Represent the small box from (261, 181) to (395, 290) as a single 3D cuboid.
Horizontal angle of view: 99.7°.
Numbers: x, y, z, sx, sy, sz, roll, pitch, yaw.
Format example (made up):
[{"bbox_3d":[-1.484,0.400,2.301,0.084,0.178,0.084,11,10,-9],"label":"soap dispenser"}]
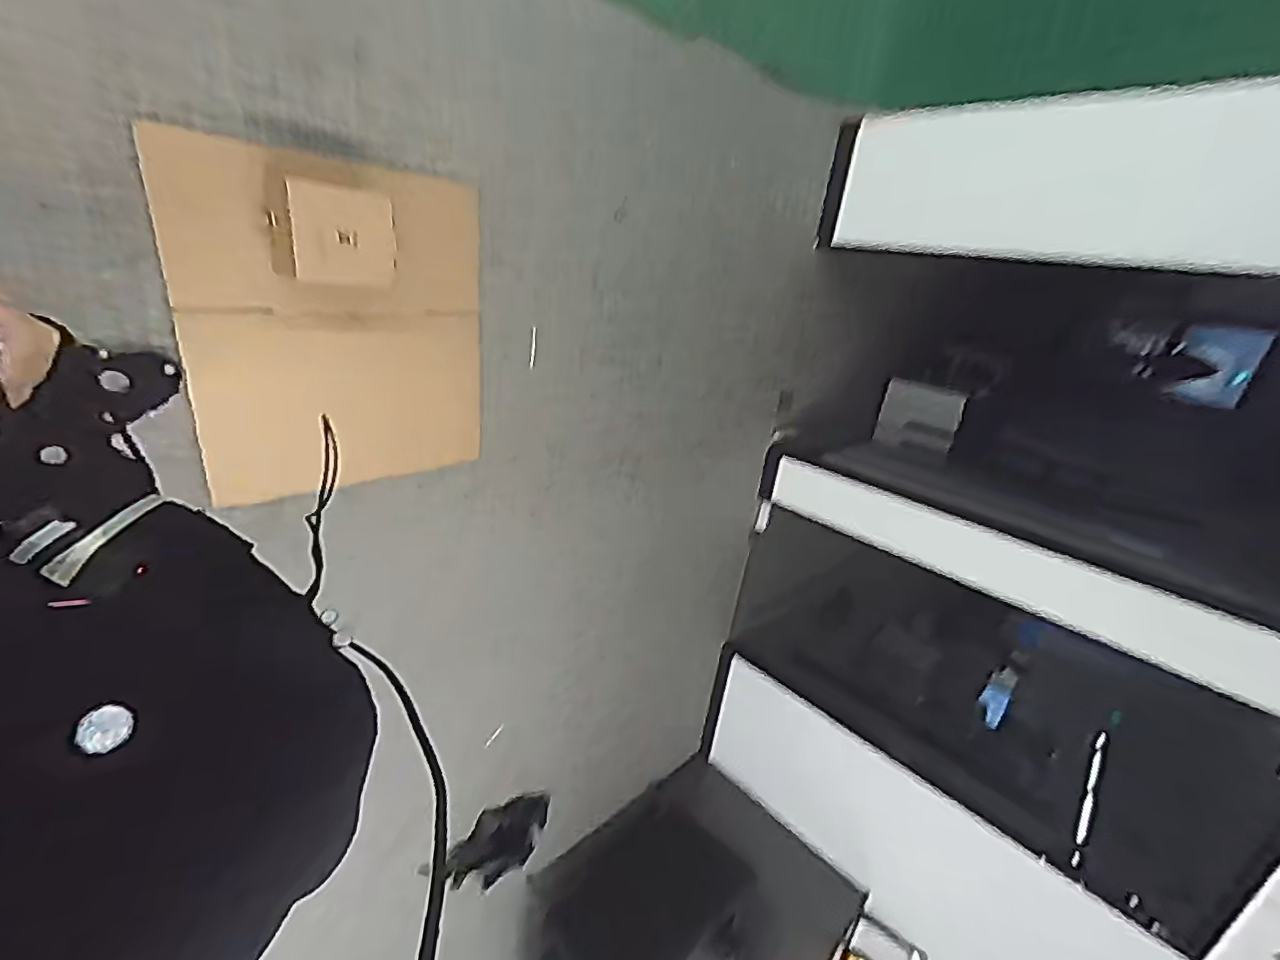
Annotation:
[{"bbox_3d":[-0.593,-0.463,1.032,0.179,0.176,0.168,-14,119,-43],"label":"small box"}]
